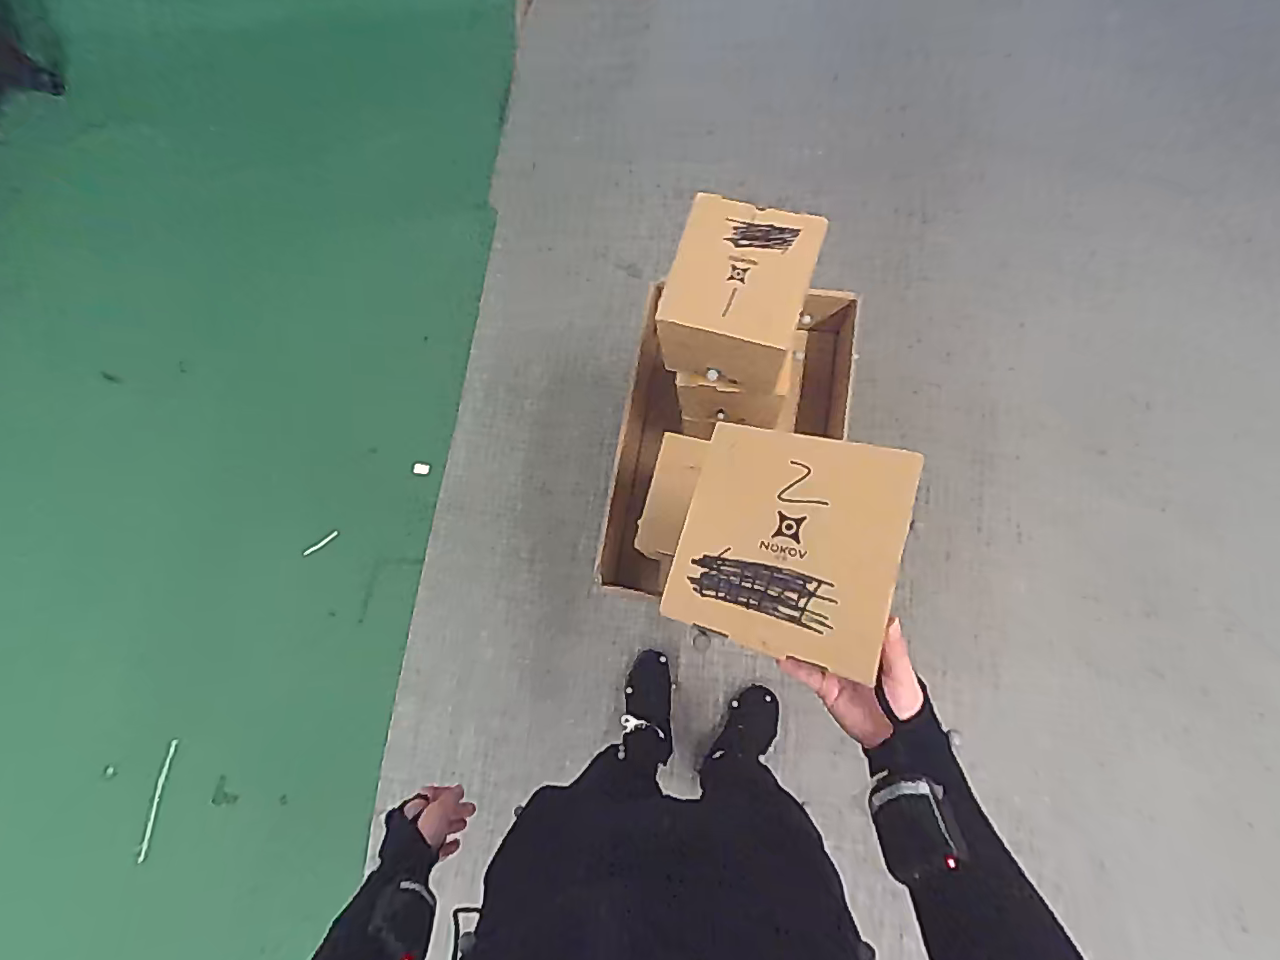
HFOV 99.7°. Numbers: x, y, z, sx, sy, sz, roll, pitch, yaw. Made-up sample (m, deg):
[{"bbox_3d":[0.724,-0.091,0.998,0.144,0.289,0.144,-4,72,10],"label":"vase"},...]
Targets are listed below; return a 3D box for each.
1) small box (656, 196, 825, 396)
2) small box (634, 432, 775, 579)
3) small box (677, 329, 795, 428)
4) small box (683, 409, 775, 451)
[{"bbox_3d":[0.130,-0.237,0.729,0.168,0.176,0.179,17,82,11],"label":"small box"},{"bbox_3d":[0.101,0.048,0.833,0.168,0.176,0.179,14,79,10],"label":"small box"},{"bbox_3d":[0.156,-0.199,0.886,0.168,0.176,0.179,7,80,9],"label":"small box"},{"bbox_3d":[0.179,-0.169,1.044,0.168,0.176,0.179,8,80,10],"label":"small box"}]
